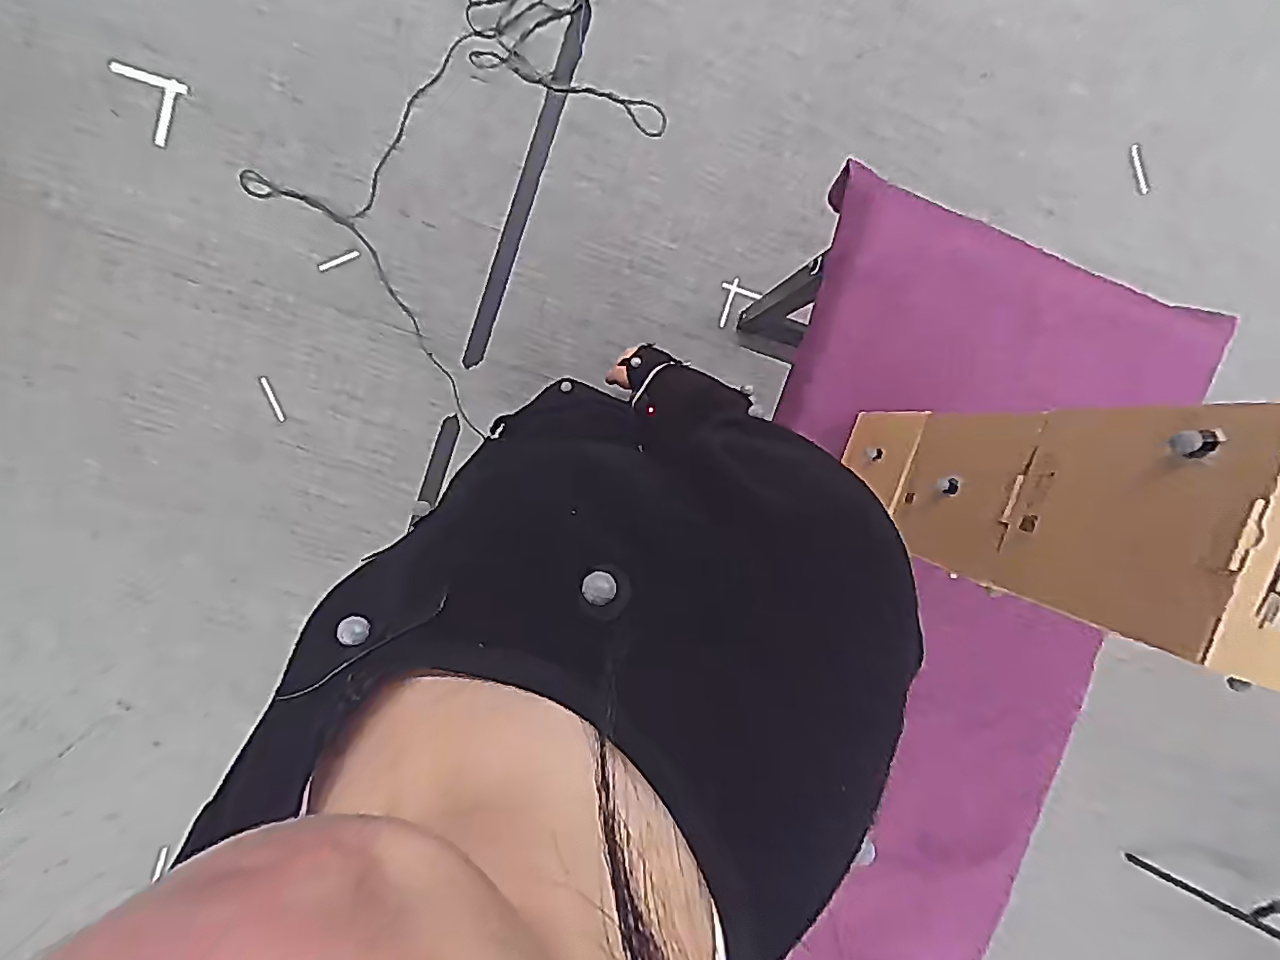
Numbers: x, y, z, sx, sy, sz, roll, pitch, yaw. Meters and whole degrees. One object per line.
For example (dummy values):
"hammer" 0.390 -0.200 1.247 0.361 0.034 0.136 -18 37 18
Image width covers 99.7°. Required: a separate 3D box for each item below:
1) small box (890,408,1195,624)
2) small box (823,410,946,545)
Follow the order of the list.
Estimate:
"small box" 0.406 0.029 0.579 0.179 0.176 0.168 17 94 -8
"small box" 0.382 0.012 0.740 0.179 0.176 0.168 19 94 -9
